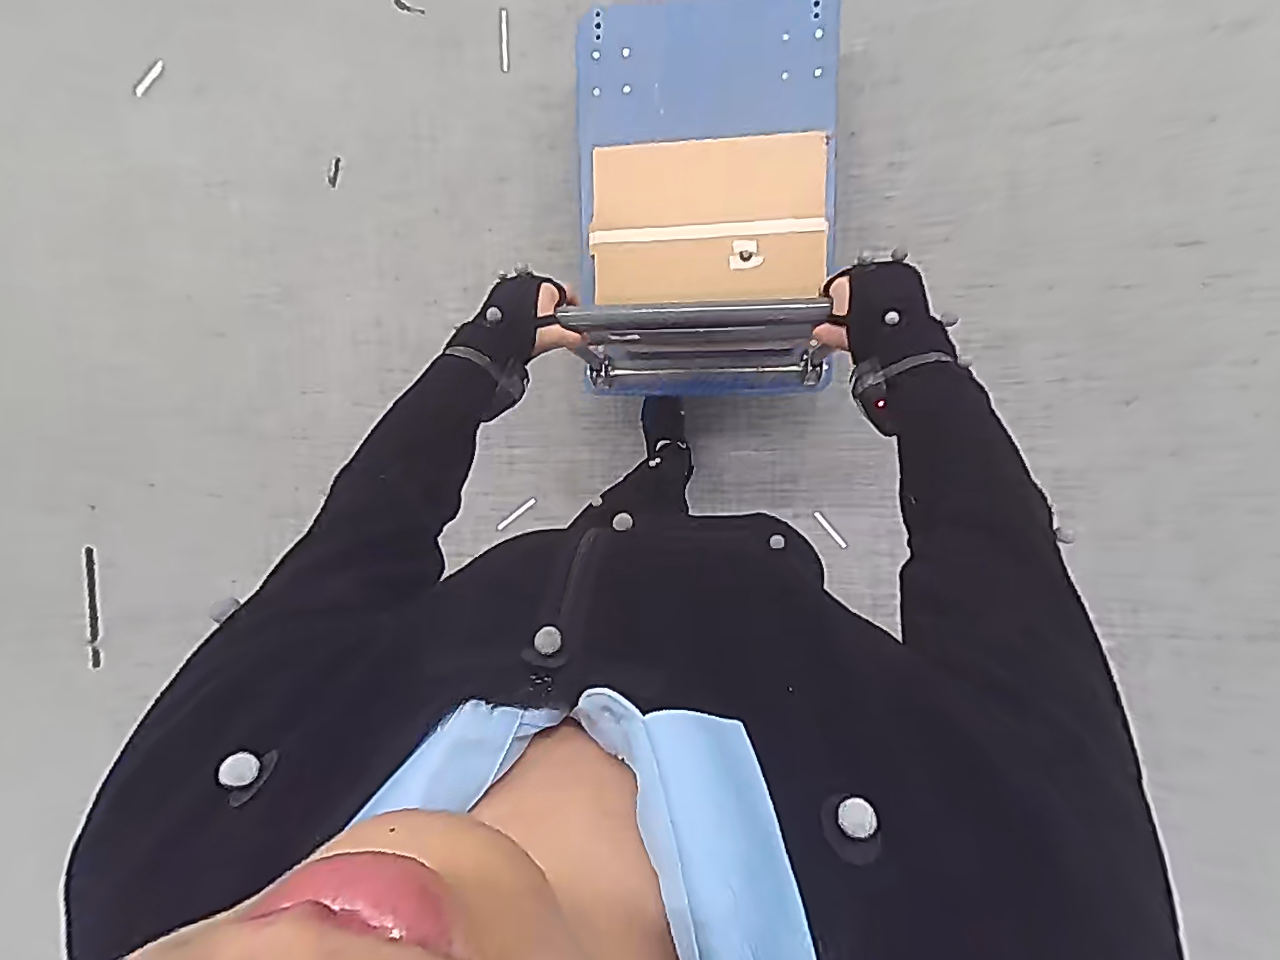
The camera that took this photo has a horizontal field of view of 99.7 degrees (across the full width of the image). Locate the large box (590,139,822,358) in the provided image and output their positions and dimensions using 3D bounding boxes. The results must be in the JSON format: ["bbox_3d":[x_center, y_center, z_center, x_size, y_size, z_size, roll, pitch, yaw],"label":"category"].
[{"bbox_3d":[0.127,-0.432,1.092,0.408,0.320,0.320,0,95,6],"label":"large box"}]
